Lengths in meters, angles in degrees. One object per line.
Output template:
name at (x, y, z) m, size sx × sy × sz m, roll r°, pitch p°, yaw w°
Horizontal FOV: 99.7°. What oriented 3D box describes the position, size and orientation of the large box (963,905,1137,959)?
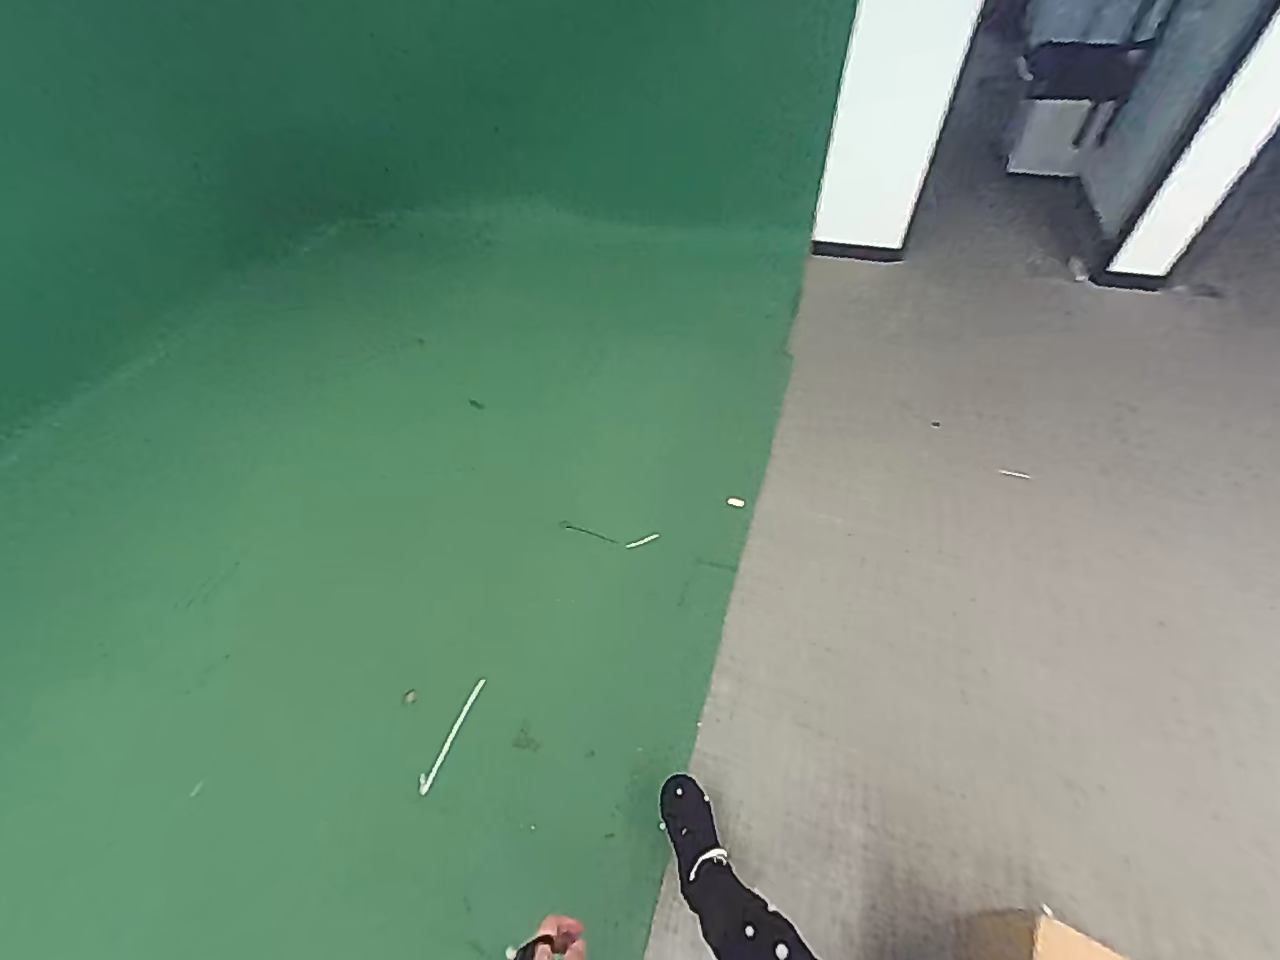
large box at (0.775, 1.070, 0.953) m, size 0.320 × 0.320 × 0.408 m, roll 22°, pitch 54°, yaw 20°
